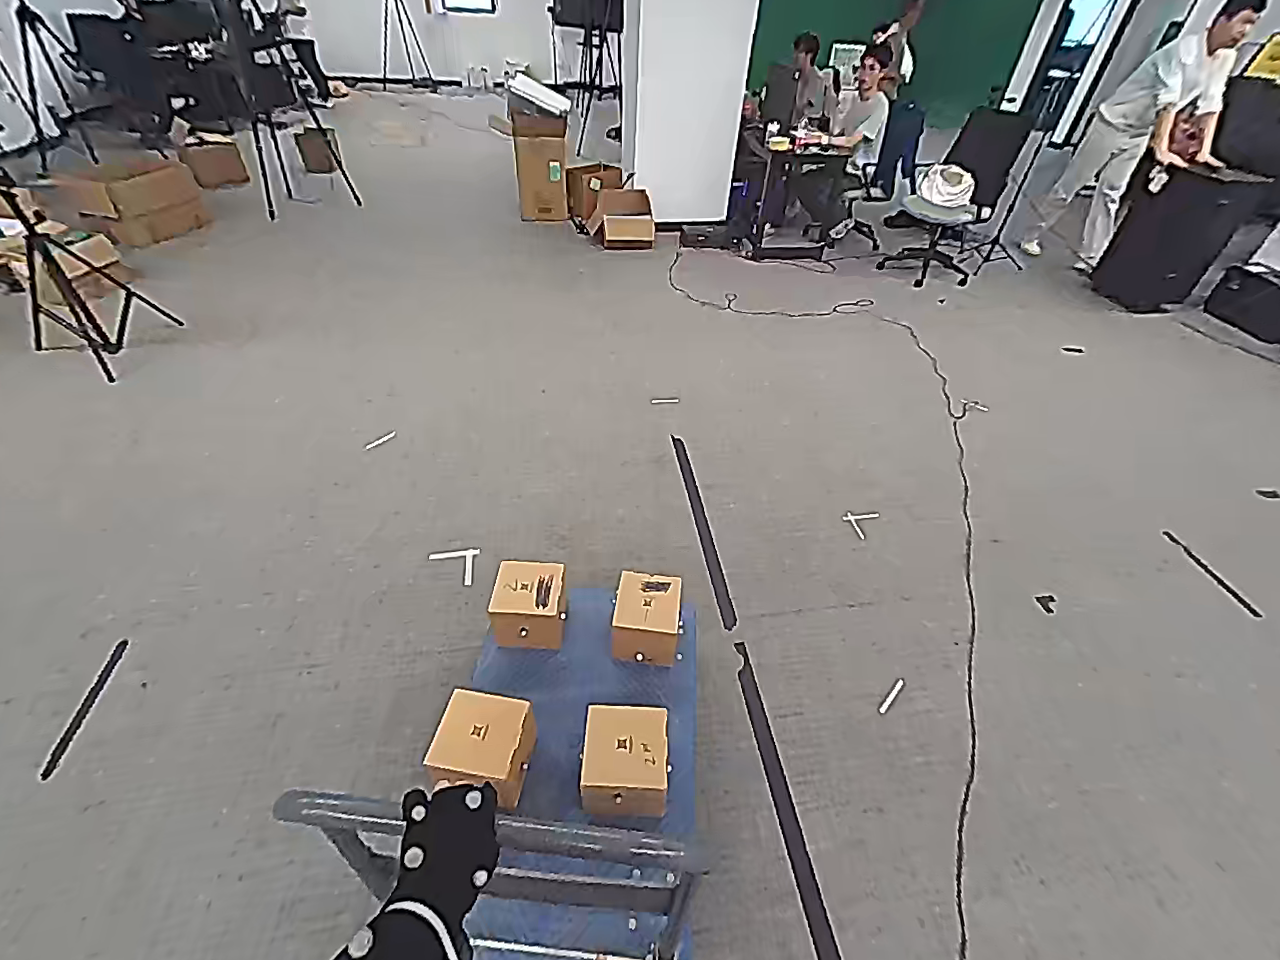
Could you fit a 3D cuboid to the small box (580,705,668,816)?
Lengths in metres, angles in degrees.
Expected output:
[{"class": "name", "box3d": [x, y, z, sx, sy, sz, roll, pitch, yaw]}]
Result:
[{"class": "small box", "box3d": [-0.031, 0.612, 1.179, 0.179, 0.176, 0.168, 3, 42, 0]}]

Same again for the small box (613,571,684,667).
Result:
[{"class": "small box", "box3d": [0.021, 0.373, 1.451, 0.168, 0.176, 0.179, 7, 43, 4]}]

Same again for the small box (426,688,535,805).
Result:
[{"class": "small box", "box3d": [-0.339, 0.587, 1.188, 0.179, 0.176, 0.168, 9, 42, 4]}]
